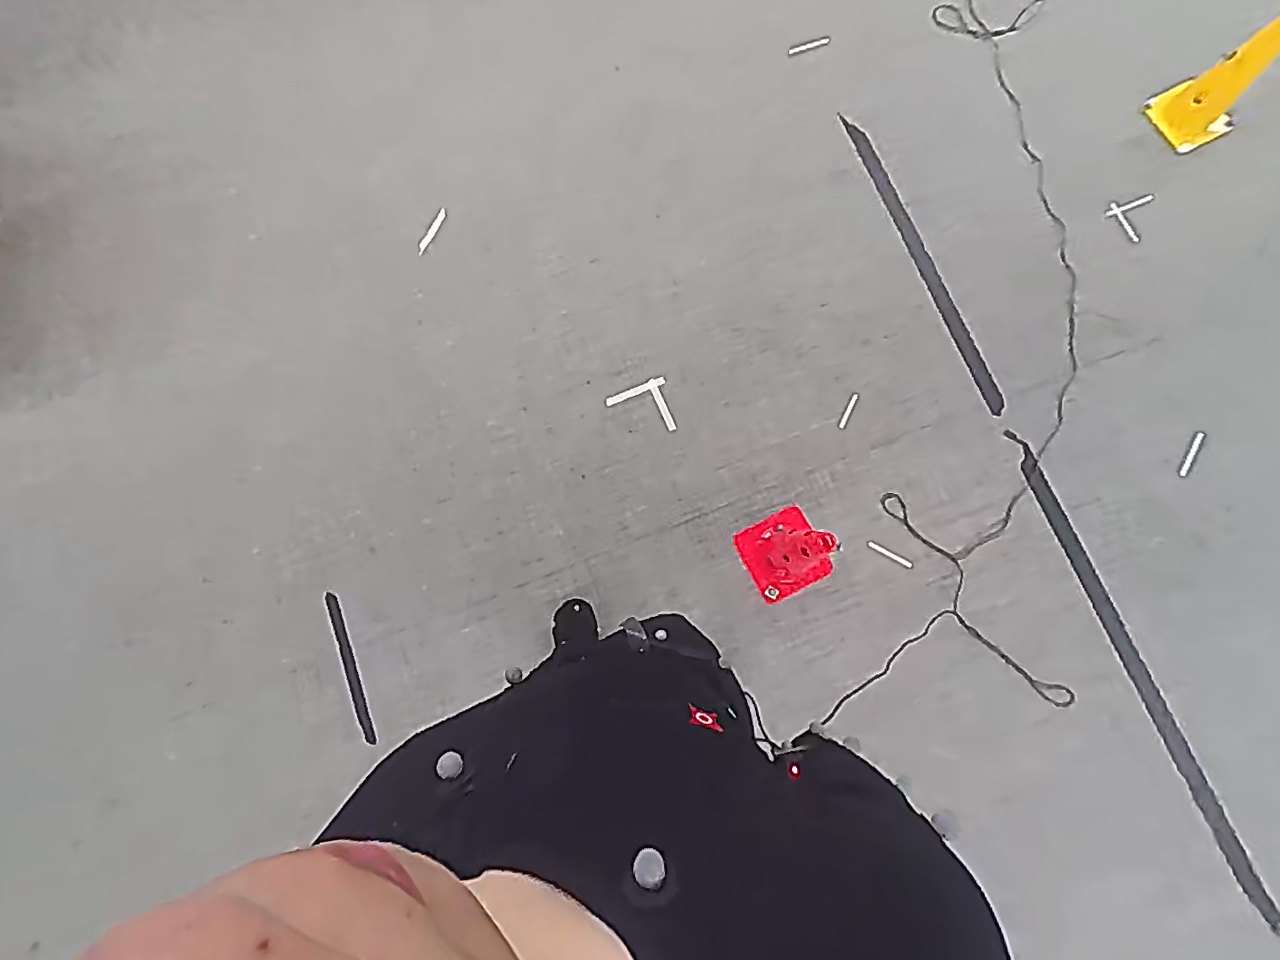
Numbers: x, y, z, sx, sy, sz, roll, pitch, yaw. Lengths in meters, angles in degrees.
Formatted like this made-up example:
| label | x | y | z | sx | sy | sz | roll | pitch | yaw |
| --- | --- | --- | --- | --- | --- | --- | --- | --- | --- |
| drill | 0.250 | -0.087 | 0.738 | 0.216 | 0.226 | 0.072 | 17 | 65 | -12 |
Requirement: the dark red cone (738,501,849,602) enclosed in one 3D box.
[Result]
| label | x | y | z | sx | sy | sz | roll | pitch | yaw |
| --- | --- | --- | --- | --- | --- | --- | --- | --- | --- |
| dark red cone | 0.368 | 0.142 | 1.188 | 0.201 | 0.394 | 0.202 | -28 | 79 | -6 |
